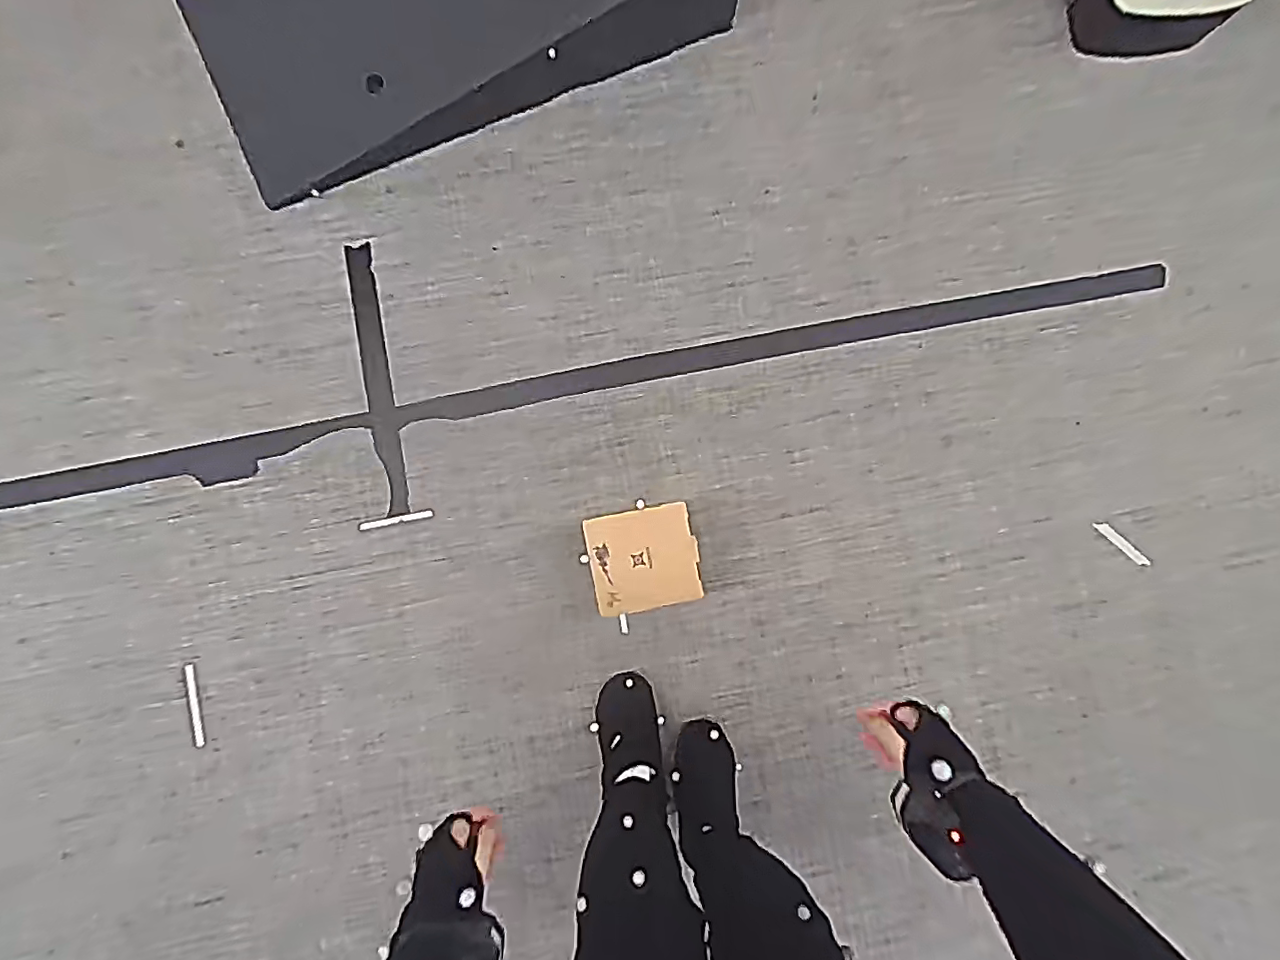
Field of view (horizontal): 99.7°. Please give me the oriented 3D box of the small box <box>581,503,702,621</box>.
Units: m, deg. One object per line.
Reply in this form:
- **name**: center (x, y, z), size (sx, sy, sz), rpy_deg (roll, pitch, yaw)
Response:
- **small box**: center (-0.003, 0.134, 0.950), size (0.179, 0.176, 0.168), rpy_deg (-11, 88, -4)
